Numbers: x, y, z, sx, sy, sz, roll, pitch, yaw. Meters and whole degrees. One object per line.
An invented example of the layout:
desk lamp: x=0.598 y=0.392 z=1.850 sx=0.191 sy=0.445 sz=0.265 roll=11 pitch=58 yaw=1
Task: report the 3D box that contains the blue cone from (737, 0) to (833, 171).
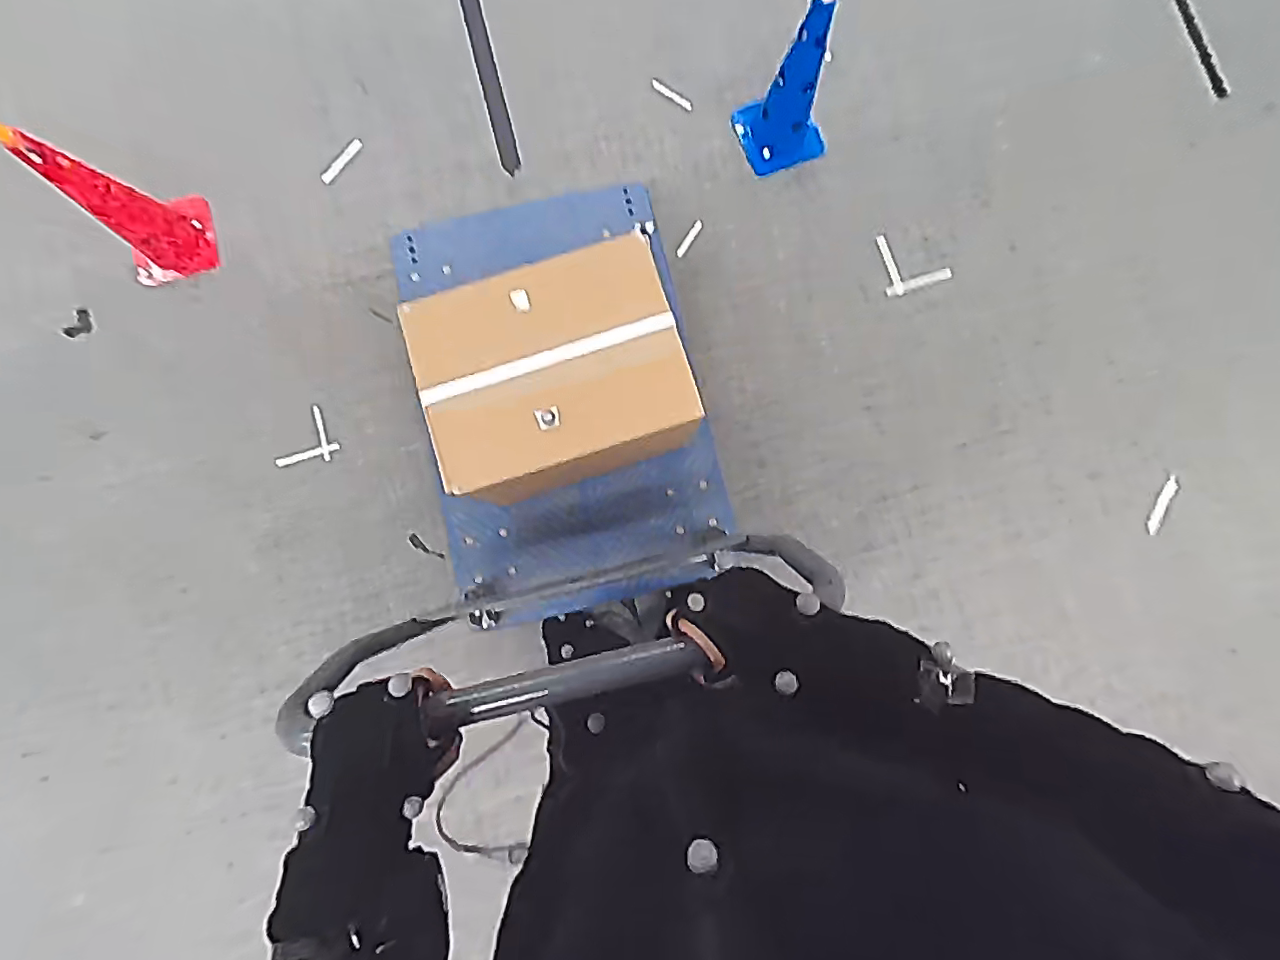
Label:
blue cone: x=0.361 y=-0.910 z=1.221 sx=0.193 sy=0.380 sz=0.192 roll=-19 pitch=83 yaw=-3
